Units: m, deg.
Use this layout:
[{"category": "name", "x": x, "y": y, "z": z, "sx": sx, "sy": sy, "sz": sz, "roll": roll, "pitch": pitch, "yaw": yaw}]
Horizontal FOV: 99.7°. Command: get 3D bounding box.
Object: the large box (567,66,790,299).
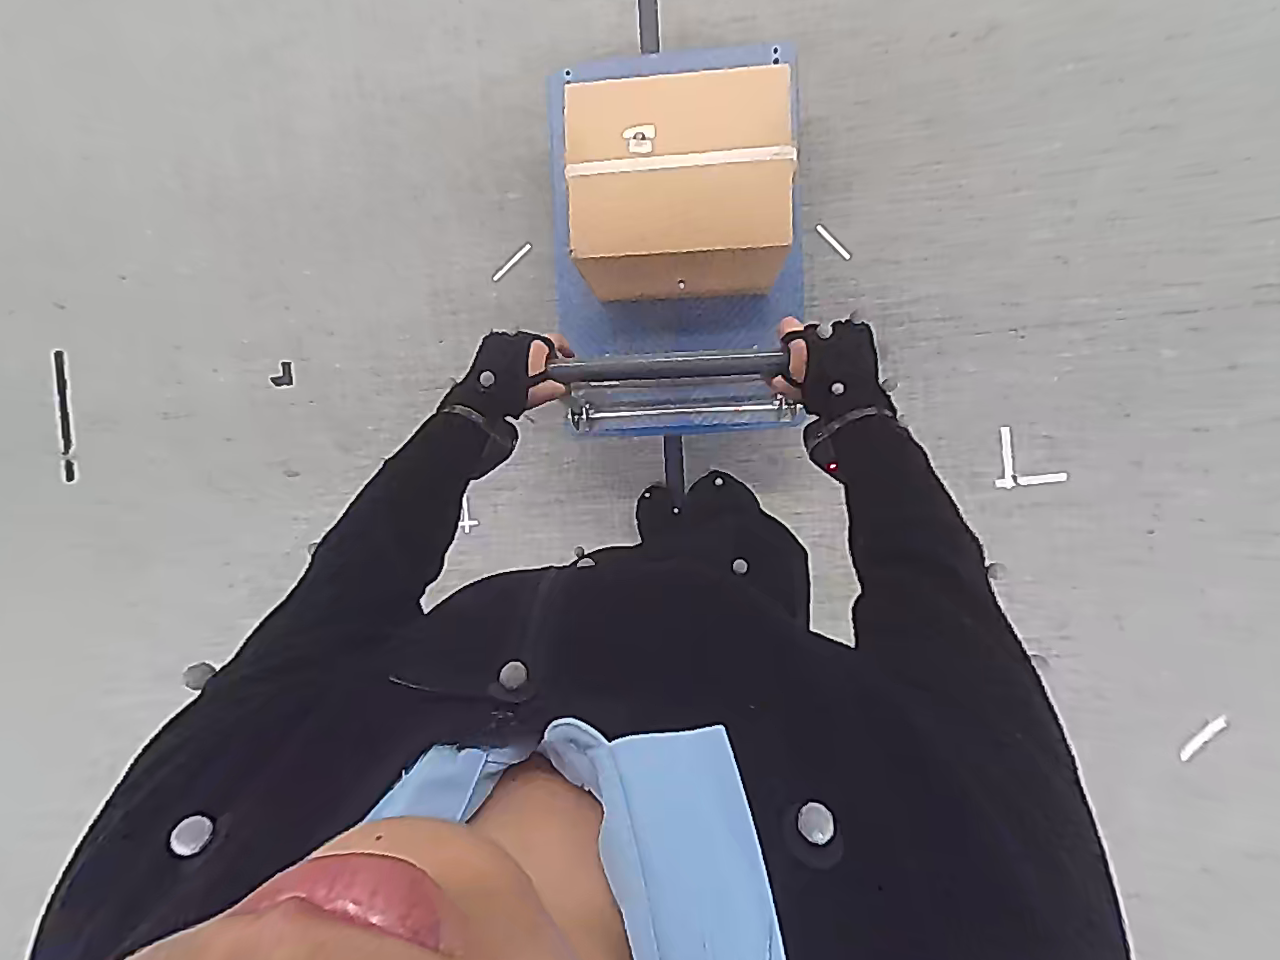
[{"category": "large box", "x": 0.086, "y": -0.587, "z": 1.139, "sx": 0.408, "sy": 0.320, "sz": 0.320, "roll": -2, "pitch": 93, "yaw": 7}]
